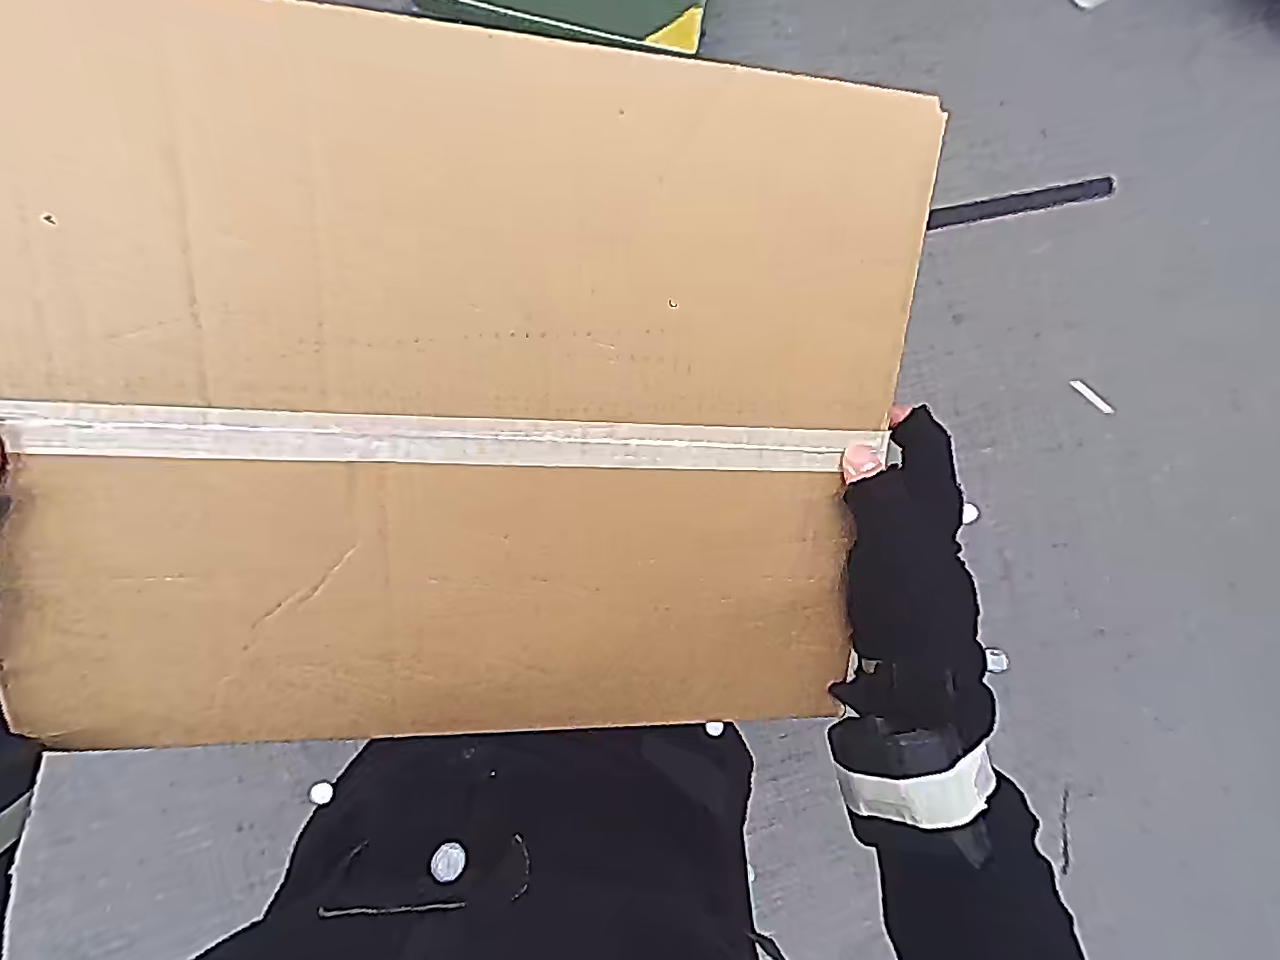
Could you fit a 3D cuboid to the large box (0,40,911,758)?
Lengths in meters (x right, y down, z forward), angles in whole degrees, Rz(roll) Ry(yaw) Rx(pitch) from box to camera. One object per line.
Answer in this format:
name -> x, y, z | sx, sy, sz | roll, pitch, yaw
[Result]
large box -> -0.097, -0.050, 0.398 | 0.408, 0.320, 0.320 | 1, 105, -9
